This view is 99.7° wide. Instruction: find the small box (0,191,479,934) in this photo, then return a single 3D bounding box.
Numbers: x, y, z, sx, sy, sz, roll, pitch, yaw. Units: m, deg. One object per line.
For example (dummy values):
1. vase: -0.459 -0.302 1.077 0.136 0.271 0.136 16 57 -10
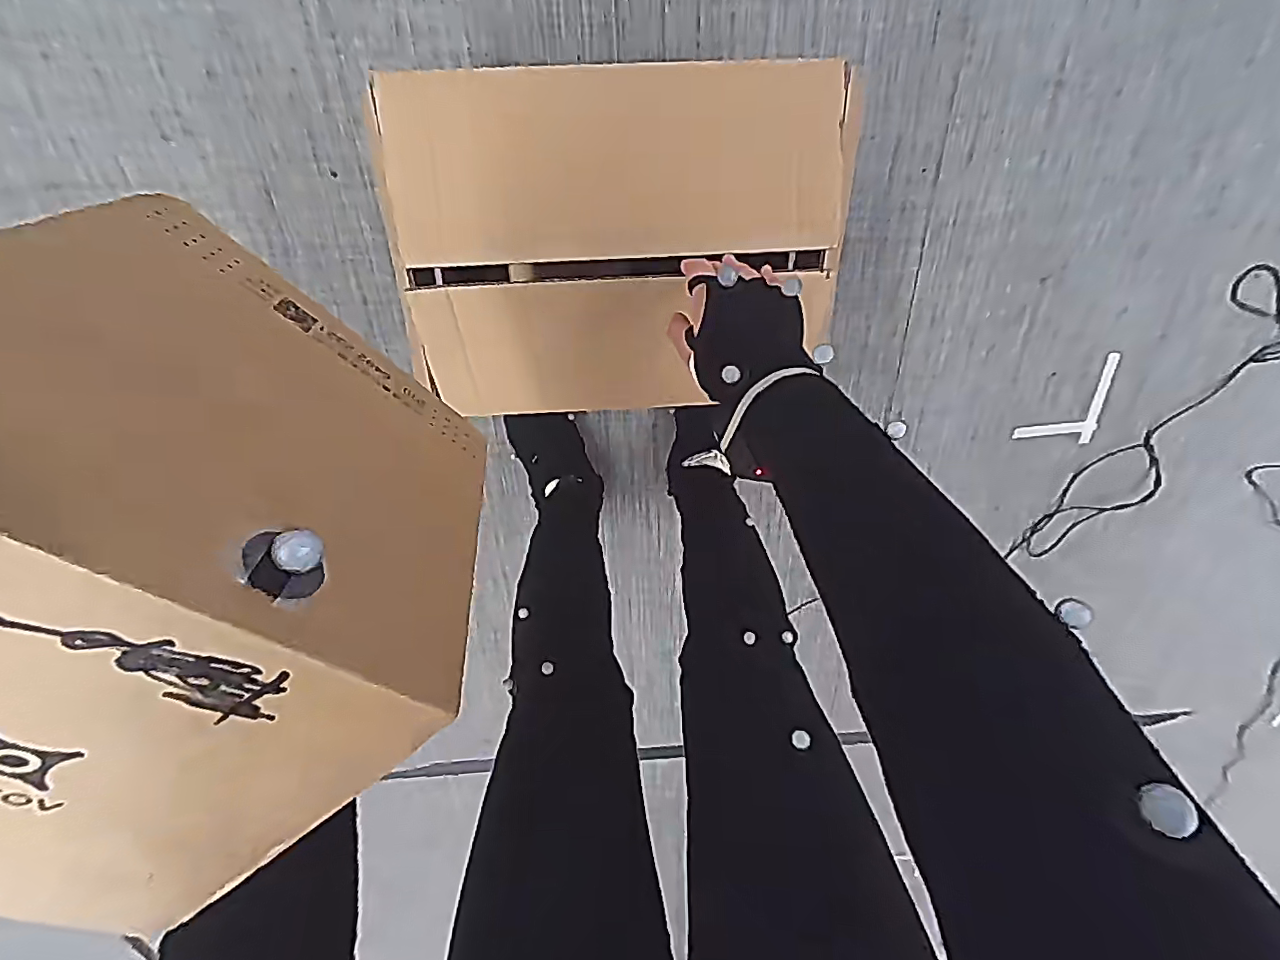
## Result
1. small box: -0.179 0.028 0.204 0.179 0.176 0.168 -37 124 16
